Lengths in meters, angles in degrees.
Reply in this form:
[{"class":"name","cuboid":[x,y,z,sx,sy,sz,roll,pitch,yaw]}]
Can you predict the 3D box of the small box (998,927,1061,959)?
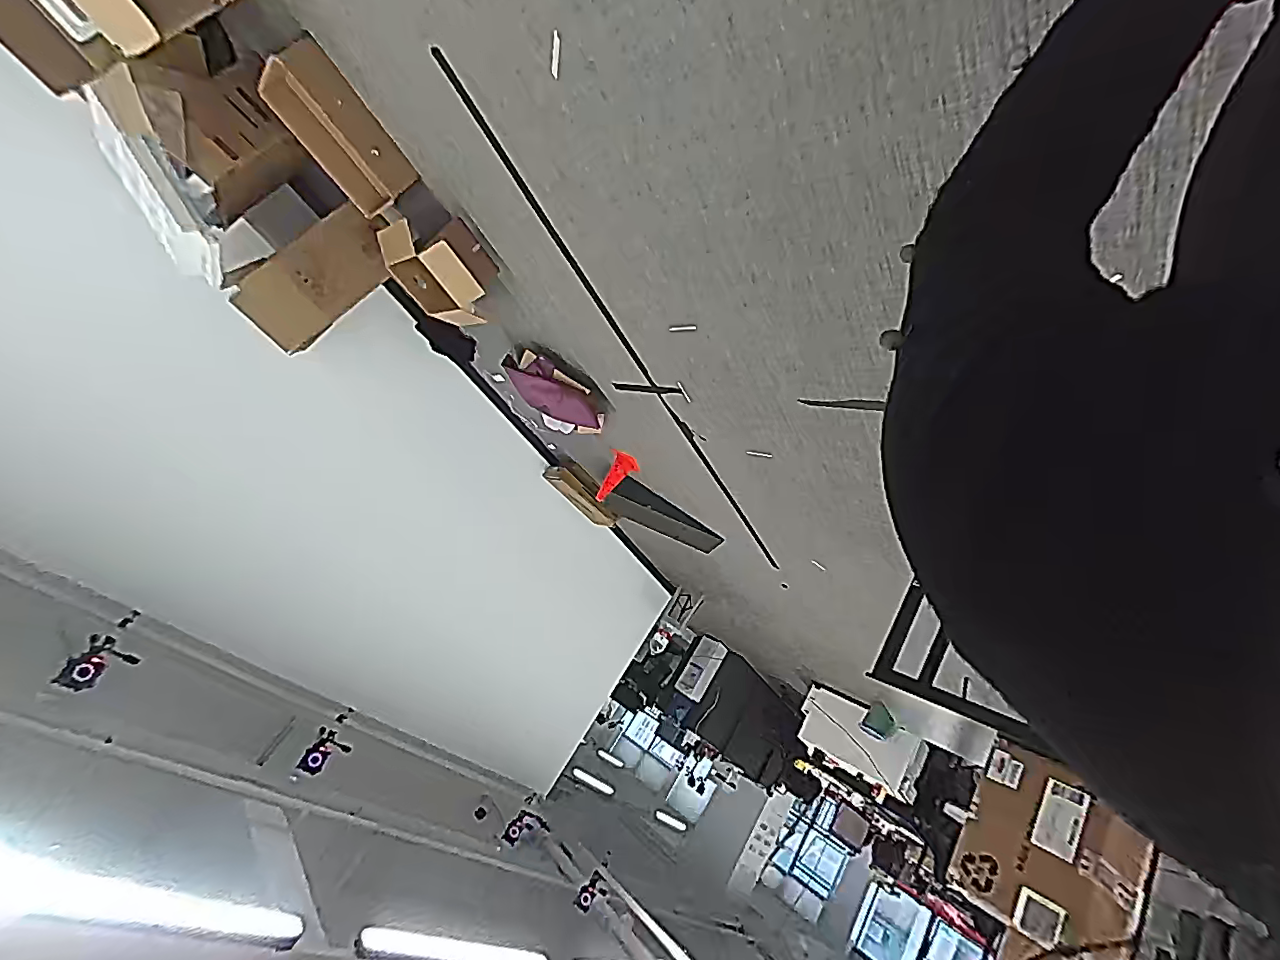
[{"class":"small box","cuboid":[1.216,1.526,1.658,0.179,0.176,0.168,12,152,50]}]
